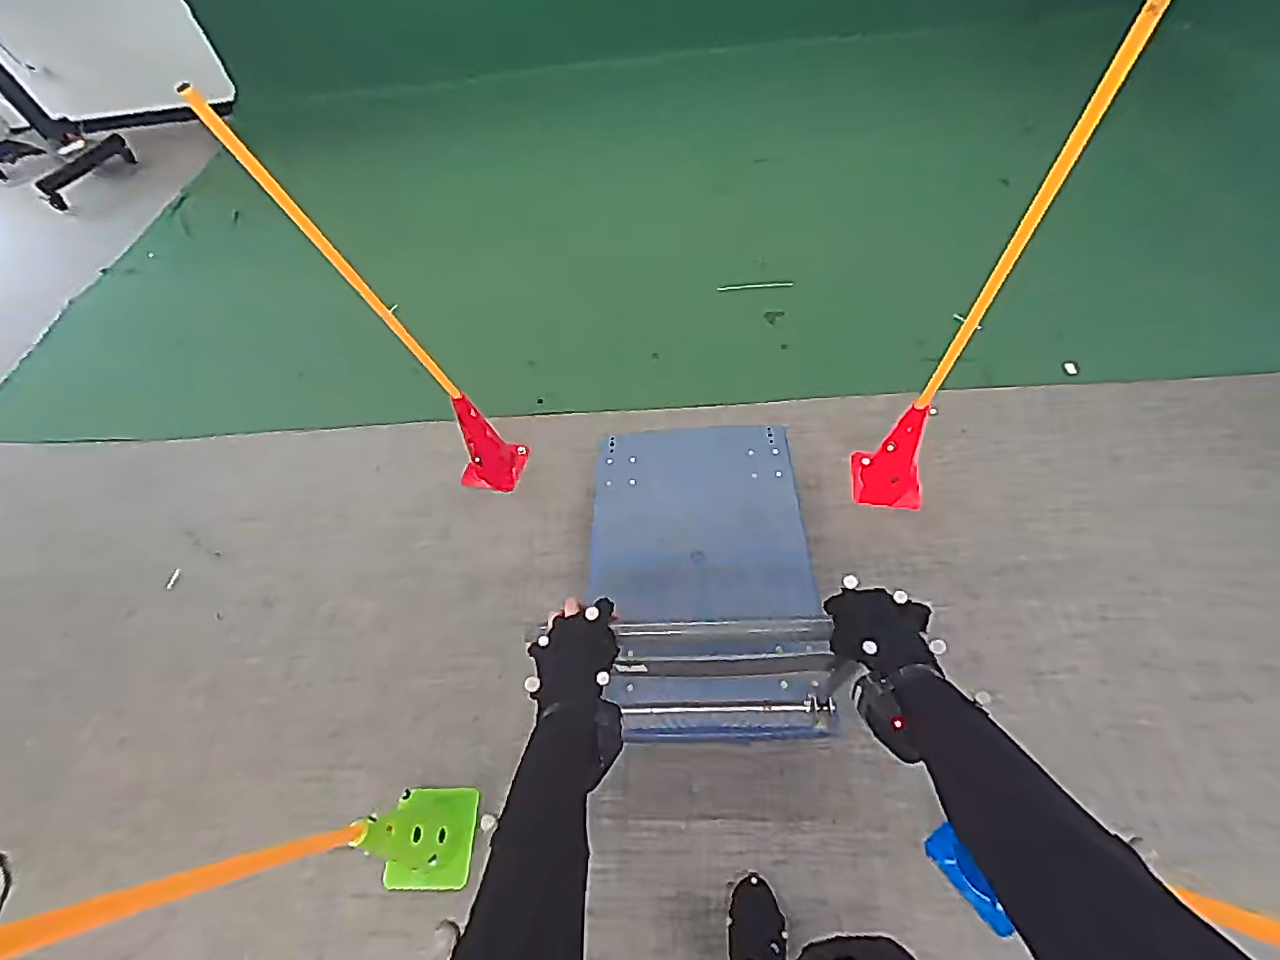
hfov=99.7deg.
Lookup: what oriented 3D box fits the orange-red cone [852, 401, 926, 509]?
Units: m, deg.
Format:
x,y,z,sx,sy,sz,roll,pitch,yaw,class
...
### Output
x,y,z,sx,sy,sz,roll,pitch,yaw,class
0.753,-0.095,1.563,0.198,0.360,0.199,7,58,12,orange-red cone
